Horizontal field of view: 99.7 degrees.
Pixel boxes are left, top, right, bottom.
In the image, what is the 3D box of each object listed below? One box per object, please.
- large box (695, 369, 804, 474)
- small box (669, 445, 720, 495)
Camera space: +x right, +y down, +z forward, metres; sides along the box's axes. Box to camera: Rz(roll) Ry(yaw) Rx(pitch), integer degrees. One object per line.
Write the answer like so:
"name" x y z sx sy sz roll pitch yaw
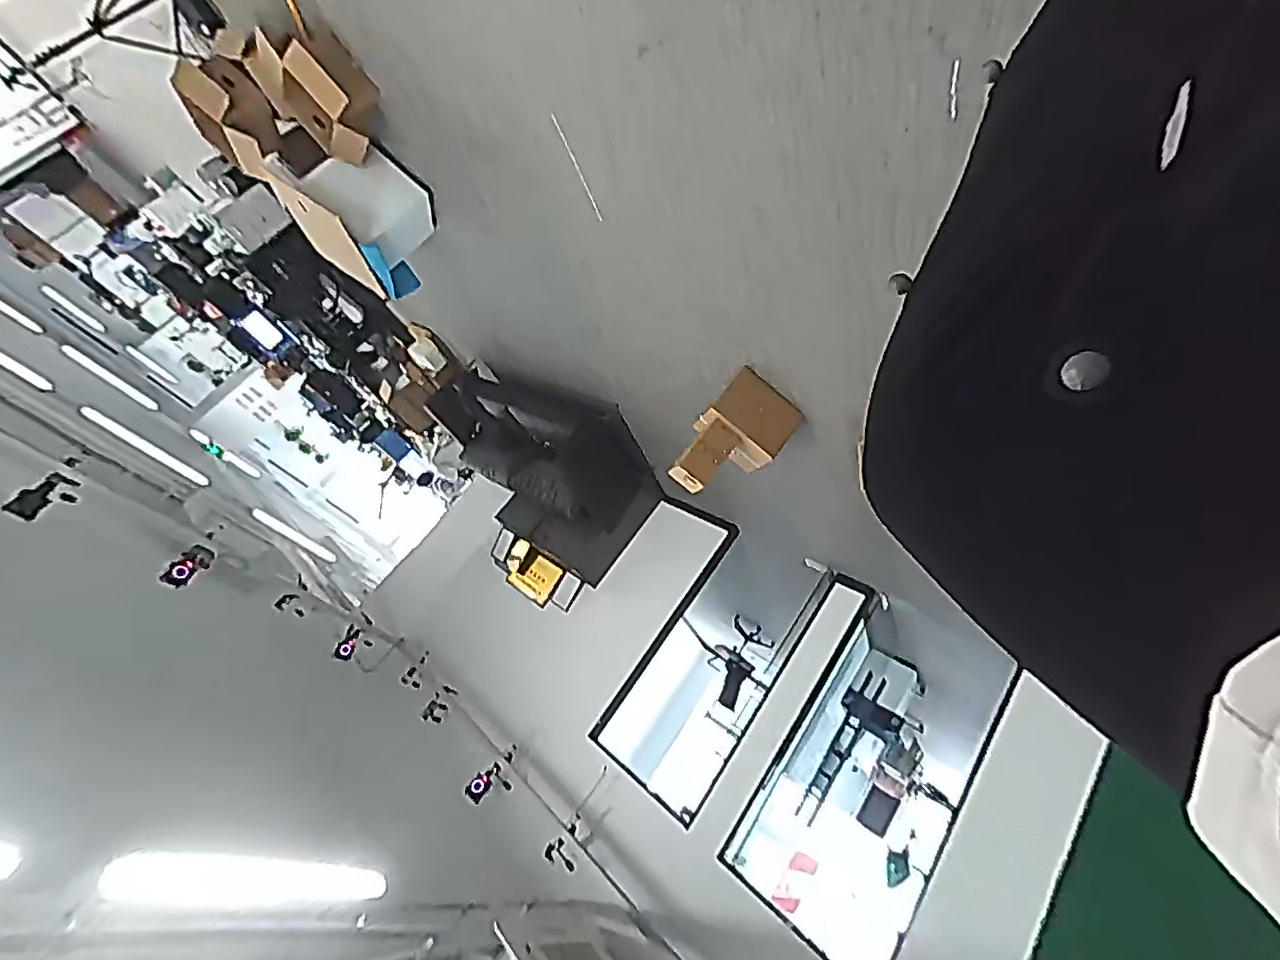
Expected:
"large box" 0.566 -0.300 2.831 0.408 0.320 0.320 39 163 -3
"small box" 0.273 -0.050 2.668 0.168 0.176 0.179 40 163 -4
